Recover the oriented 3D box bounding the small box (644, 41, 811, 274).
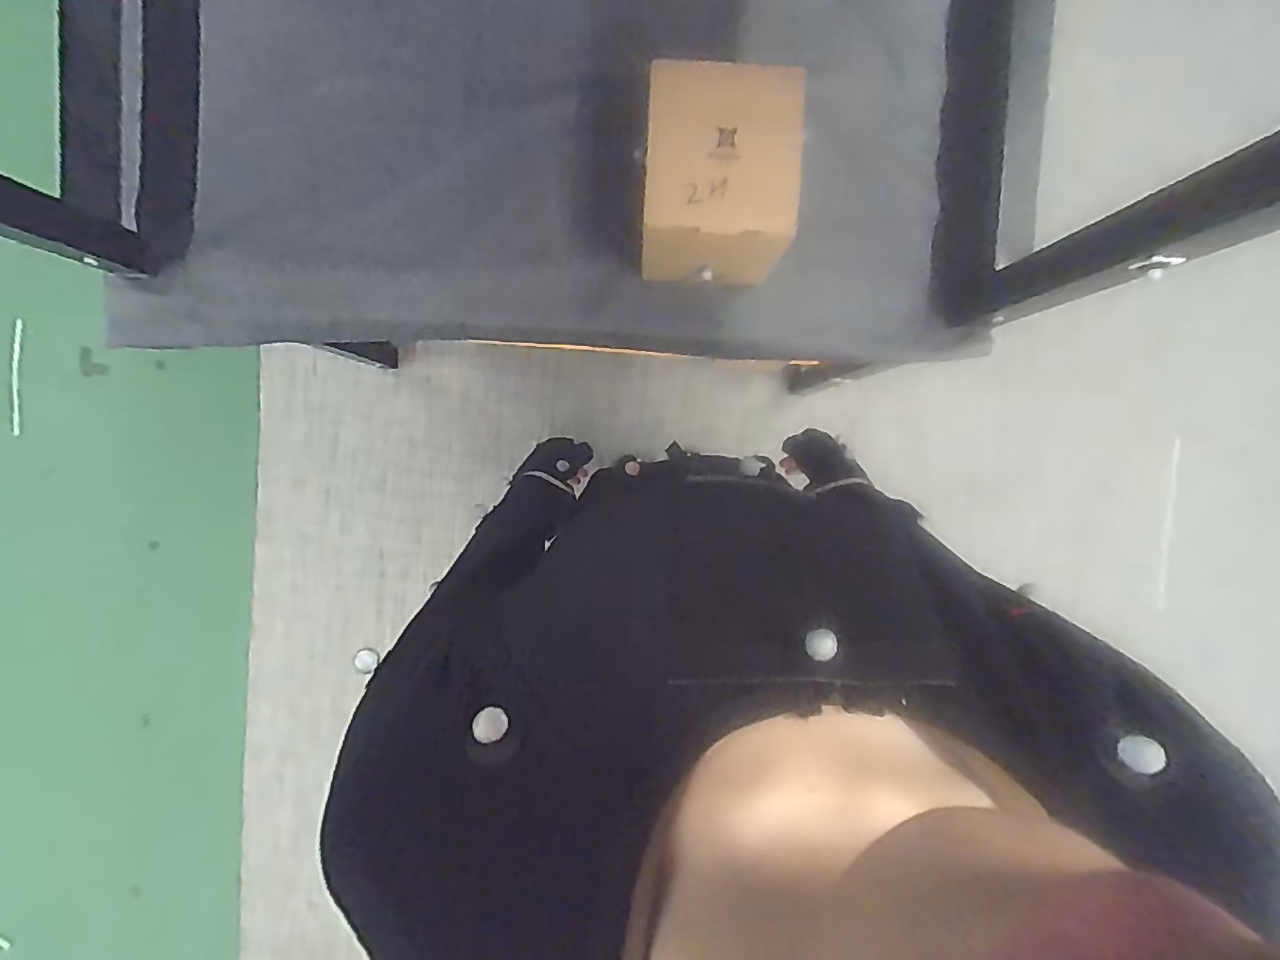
[{"bbox_3d":[0.092,-0.367,0.644,0.168,0.176,0.179,3,92,0],"label":"small box"}]
